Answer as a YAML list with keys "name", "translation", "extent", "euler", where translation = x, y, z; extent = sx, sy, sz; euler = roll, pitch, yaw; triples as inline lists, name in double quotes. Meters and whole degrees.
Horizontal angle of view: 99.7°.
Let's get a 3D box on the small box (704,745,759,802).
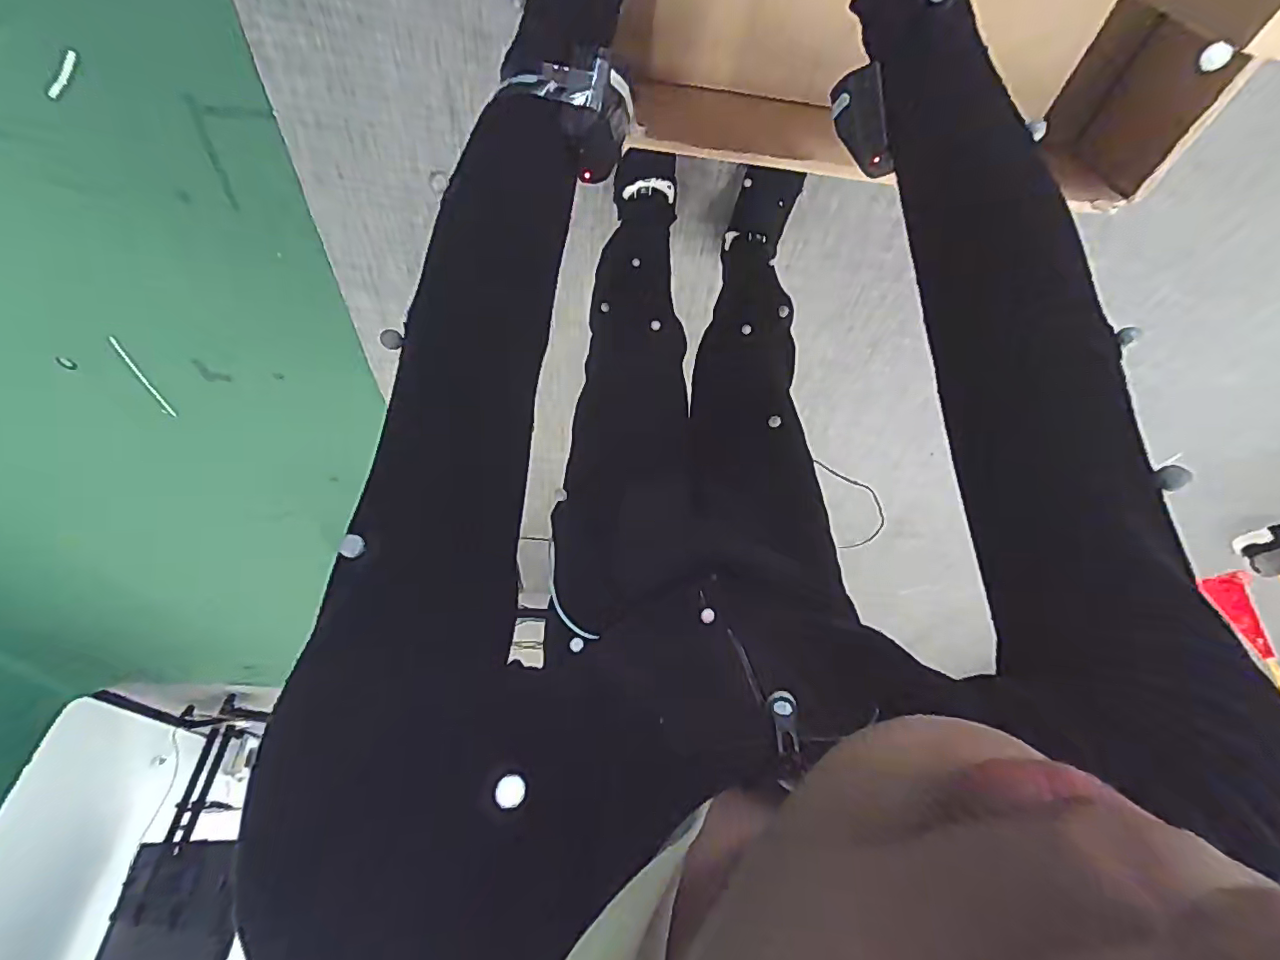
- name: "small box"
  translation: [0.332, 1.084, 1.998]
  extent: [0.168, 0.176, 0.179]
  euler: [2, 145, -1]
